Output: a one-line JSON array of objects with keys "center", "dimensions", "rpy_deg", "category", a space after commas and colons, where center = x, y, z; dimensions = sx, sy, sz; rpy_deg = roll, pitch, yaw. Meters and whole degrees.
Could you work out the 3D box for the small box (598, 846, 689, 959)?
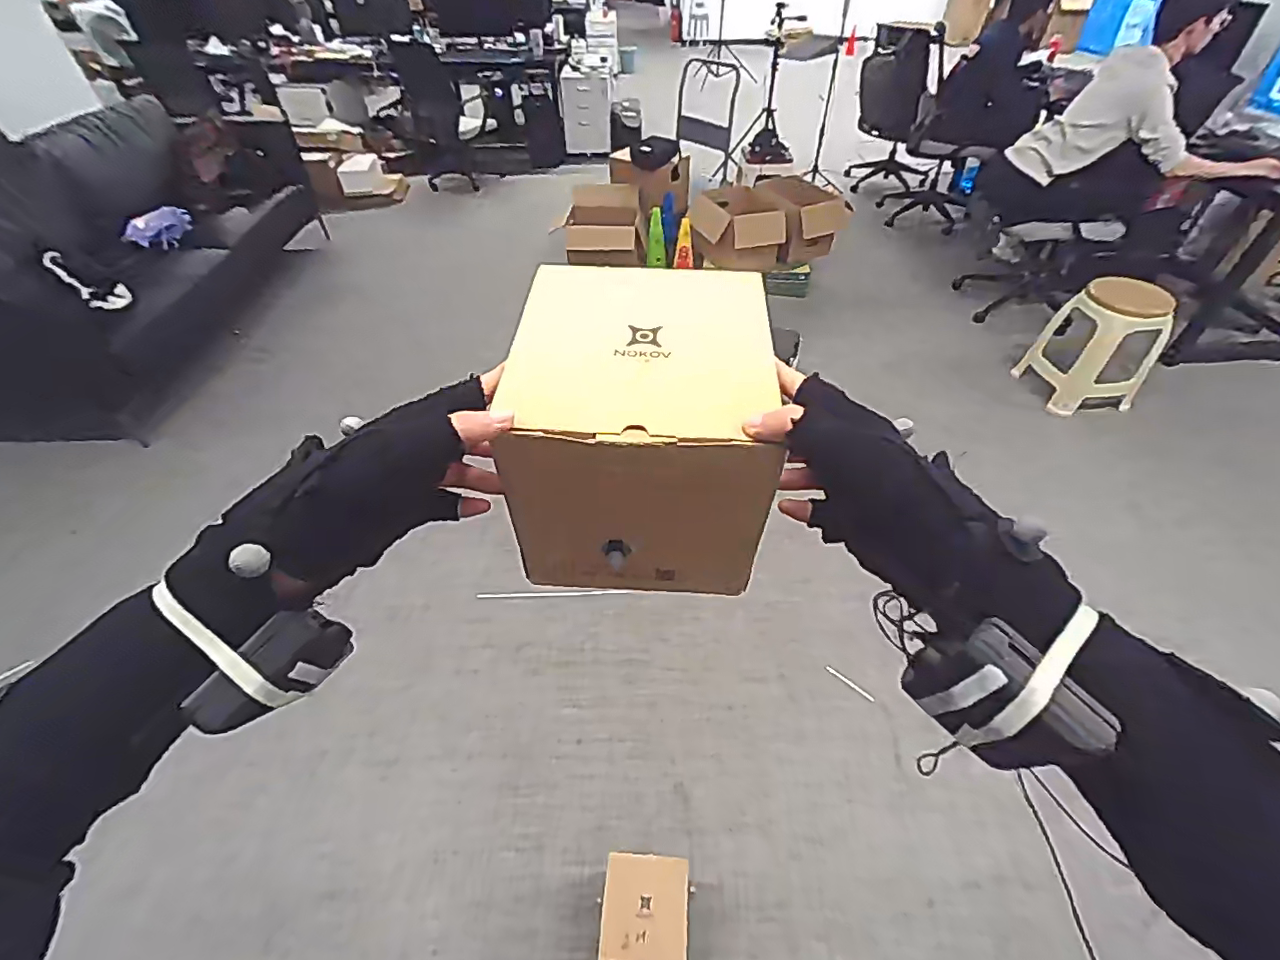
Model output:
[{"center": [0.012, 0.880, 1.109], "dimensions": [0.168, 0.176, 0.179], "rpy_deg": [2, 46, 5], "category": "small box"}]
